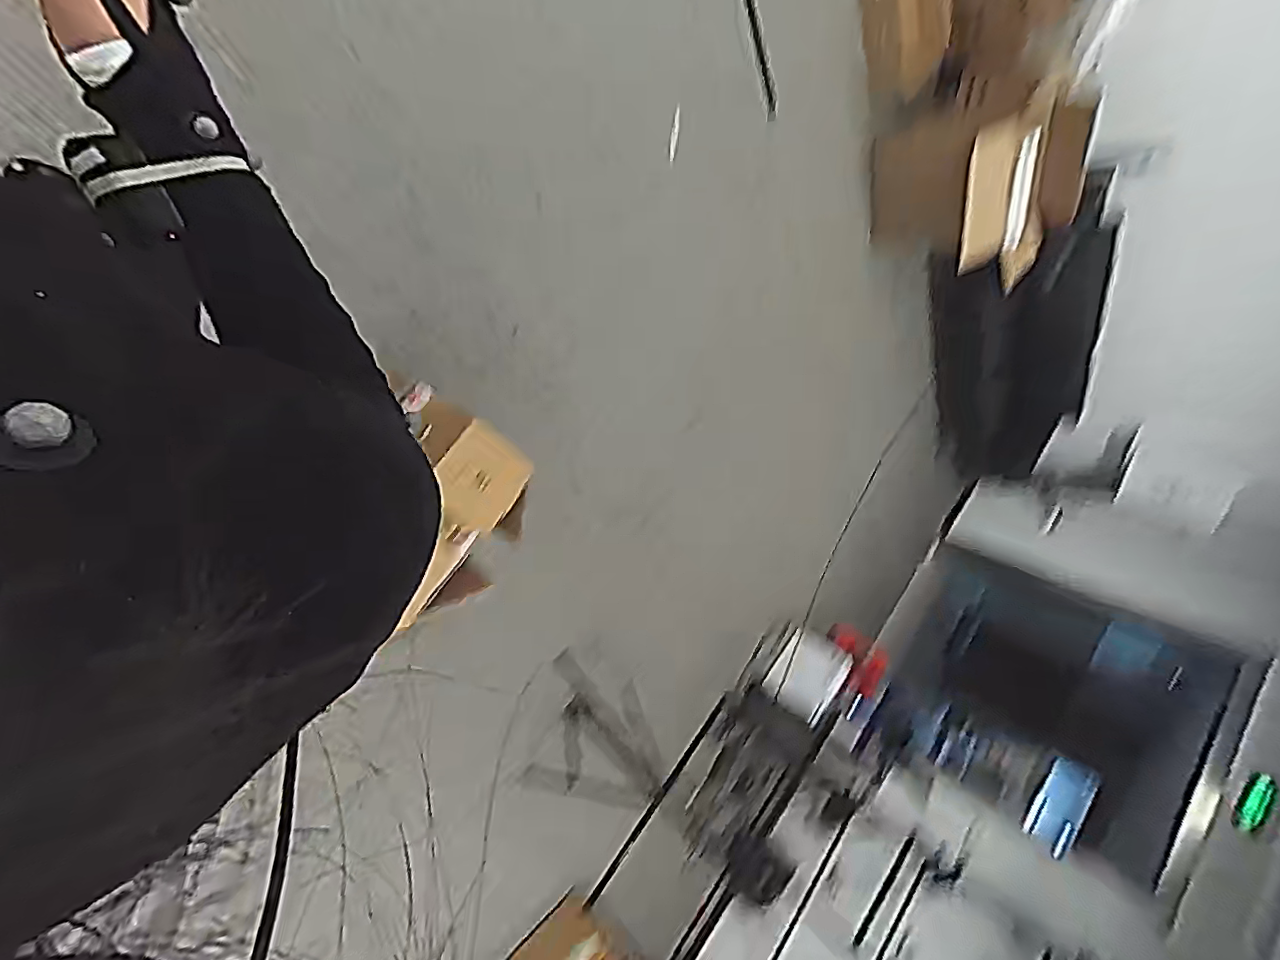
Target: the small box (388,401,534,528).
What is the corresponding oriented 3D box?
[{"bbox_3d":[-0.348,-0.037,1.051,0.168,0.176,0.179,-56,134,-12],"label":"small box"}]
